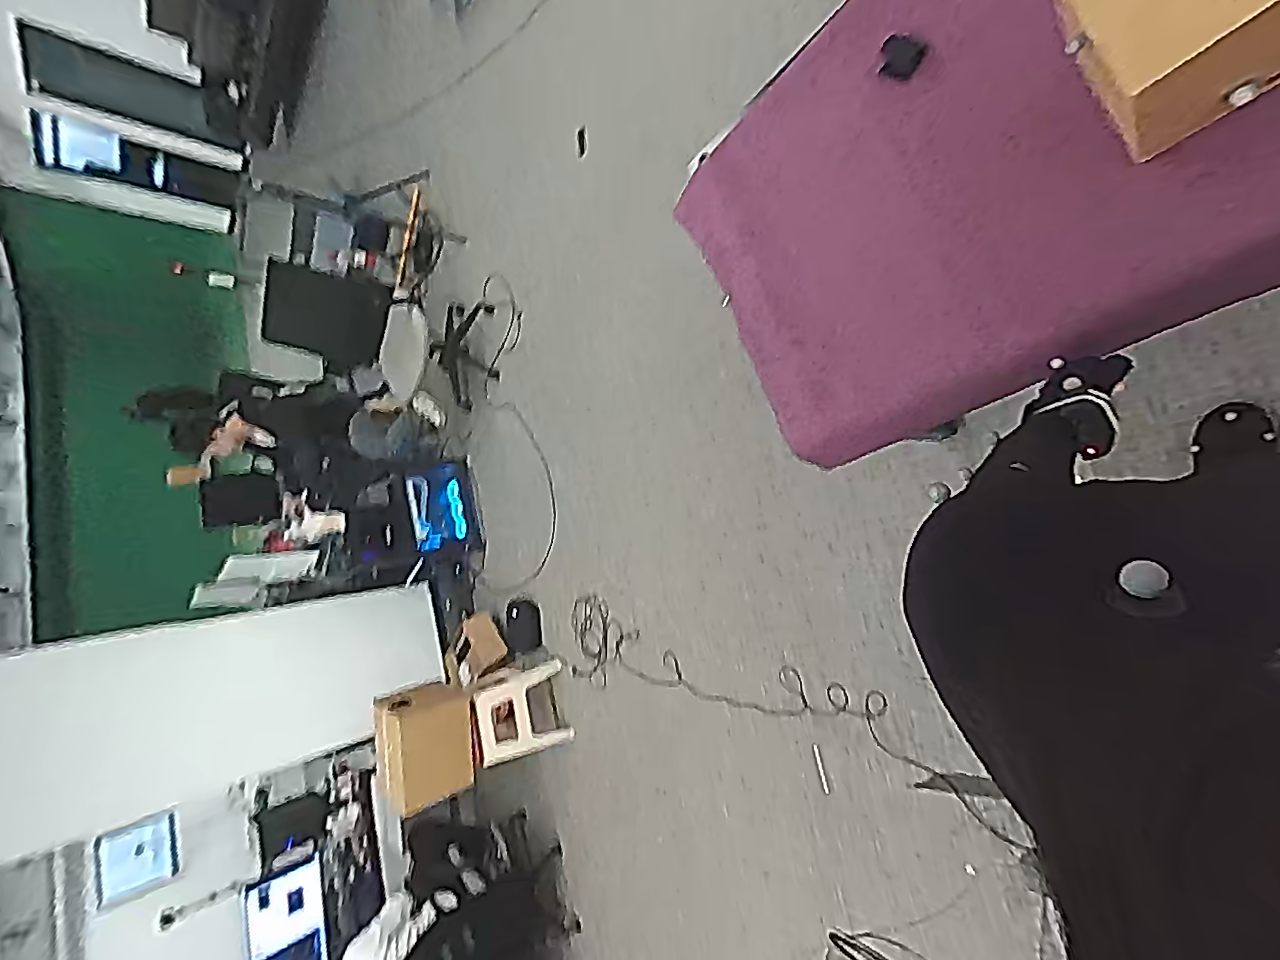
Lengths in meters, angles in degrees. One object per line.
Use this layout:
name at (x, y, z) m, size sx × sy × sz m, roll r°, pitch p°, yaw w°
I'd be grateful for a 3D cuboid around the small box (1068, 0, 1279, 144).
small box at (0.521, -0.459, 0.496) m, size 0.168 × 0.176 × 0.179 m, roll -29°, pitch 73°, yaw 44°
